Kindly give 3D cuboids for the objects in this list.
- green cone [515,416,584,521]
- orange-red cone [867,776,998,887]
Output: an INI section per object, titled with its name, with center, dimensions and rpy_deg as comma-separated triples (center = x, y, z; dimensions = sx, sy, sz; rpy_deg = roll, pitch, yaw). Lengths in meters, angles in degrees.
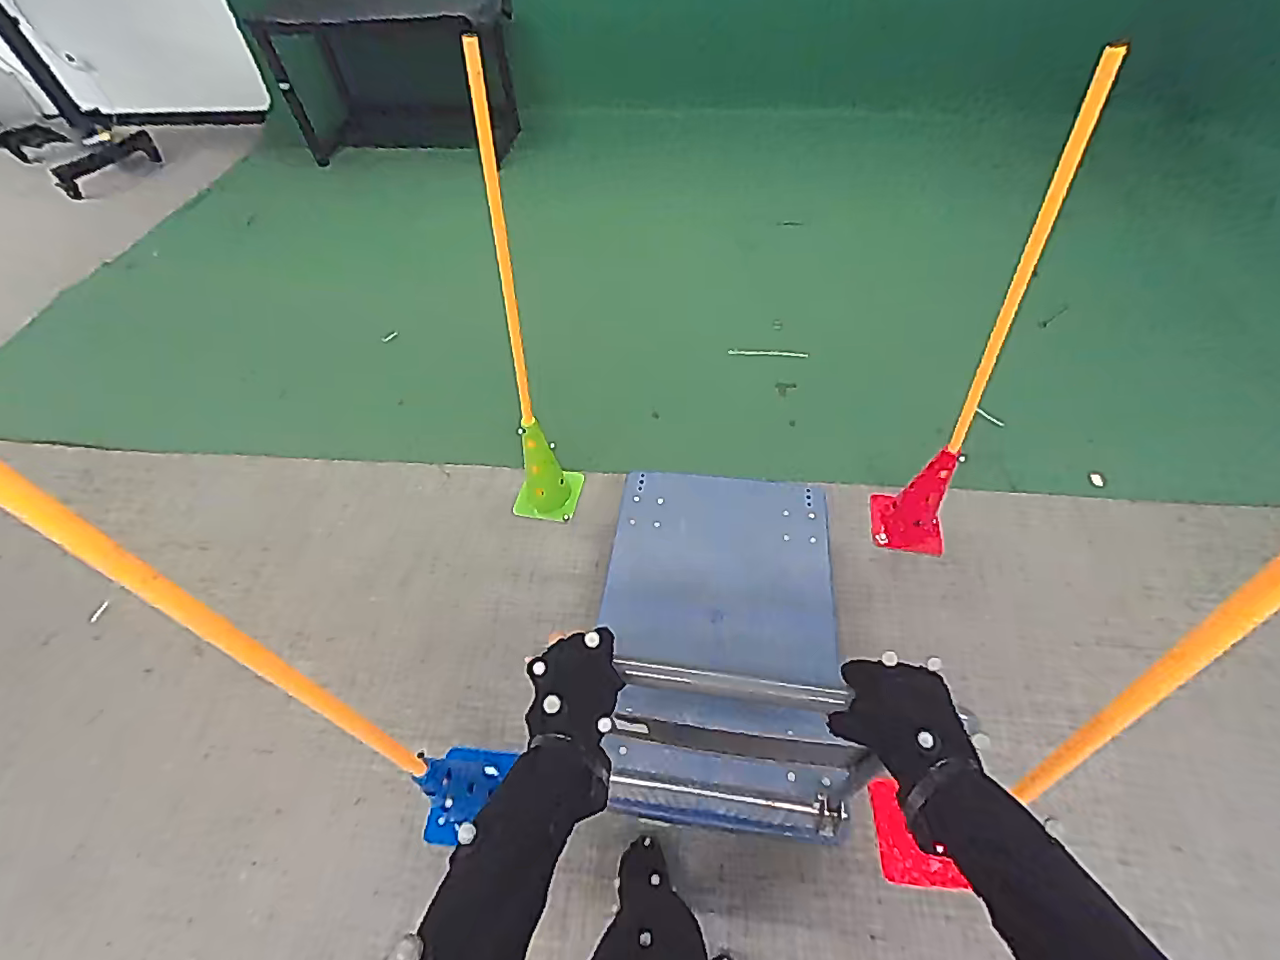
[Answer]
[green cone]
center = -0.310, -0.059, 1.673
dimensions = 0.202, 0.368, 0.200
rpy_deg = 6, 52, 9
[orange-red cone]
center = 0.609, 0.673, 1.071
dimensions = 0.199, 0.360, 0.198
rpy_deg = 2, 52, 6
